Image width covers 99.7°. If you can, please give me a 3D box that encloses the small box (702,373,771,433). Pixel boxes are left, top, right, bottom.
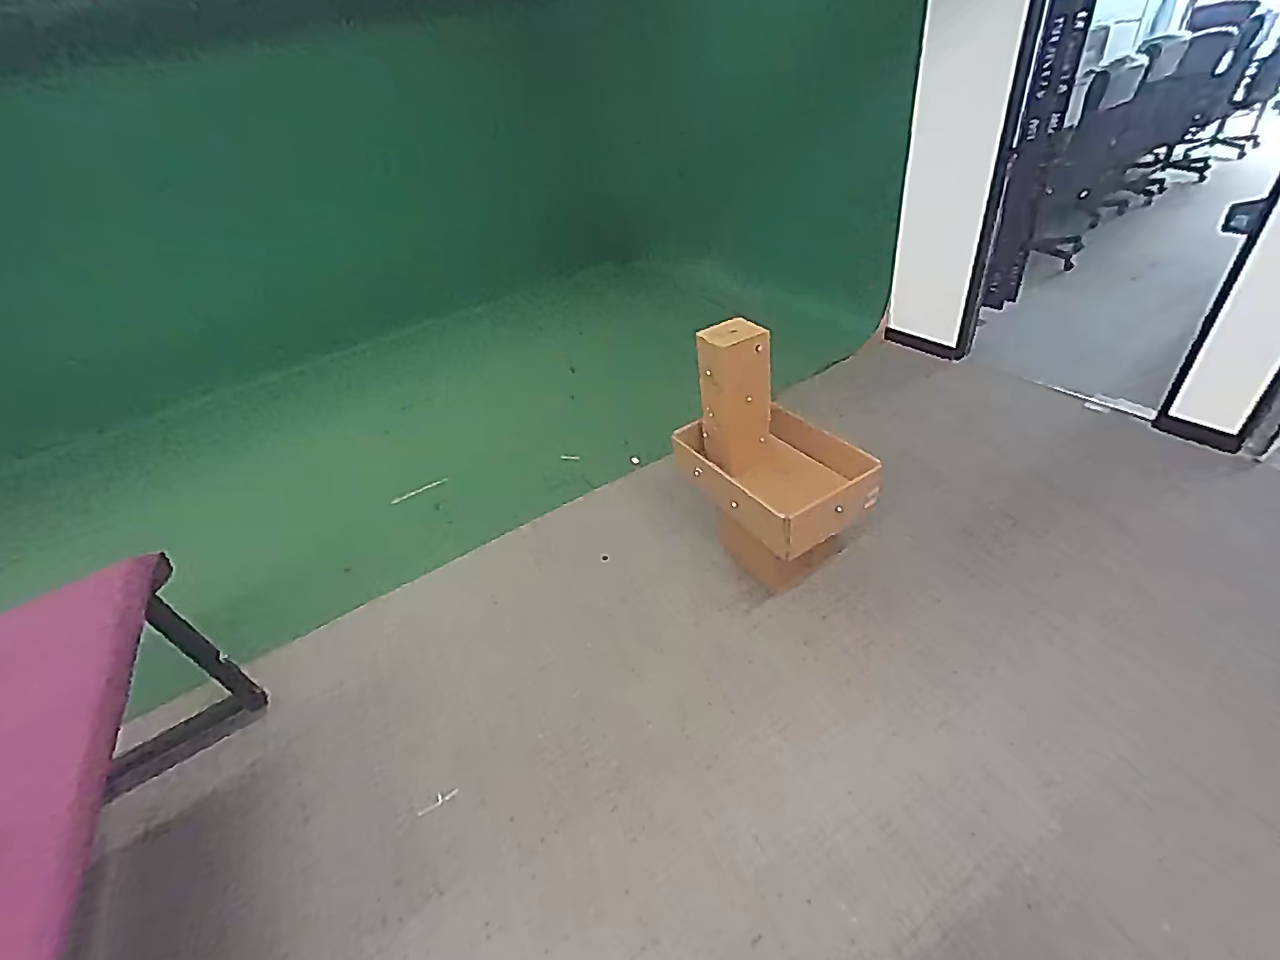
[{"bbox_3d":[0.333,-0.288,1.869,0.179,0.176,0.168,-24,39,-17],"label":"small box"}]

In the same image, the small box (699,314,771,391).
[{"bbox_3d":[0.310,-0.417,1.768,0.179,0.176,0.168,-23,39,-15],"label":"small box"}]
